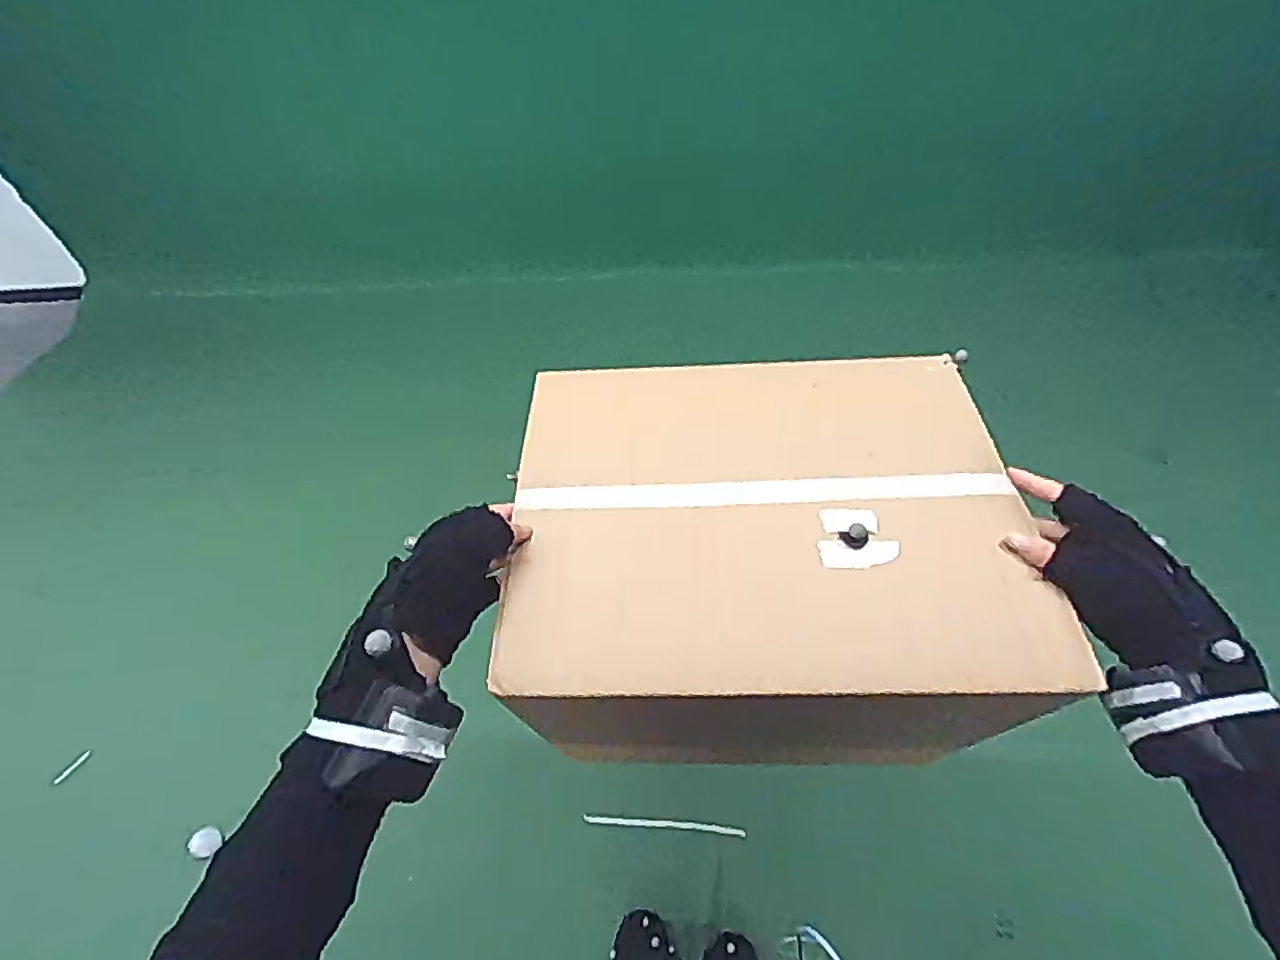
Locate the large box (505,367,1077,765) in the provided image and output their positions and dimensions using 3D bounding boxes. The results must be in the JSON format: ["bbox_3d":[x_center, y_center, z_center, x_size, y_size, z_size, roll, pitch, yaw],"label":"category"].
[{"bbox_3d":[0.108,0.107,0.580,0.408,0.320,0.320,-2,55,4],"label":"large box"}]
